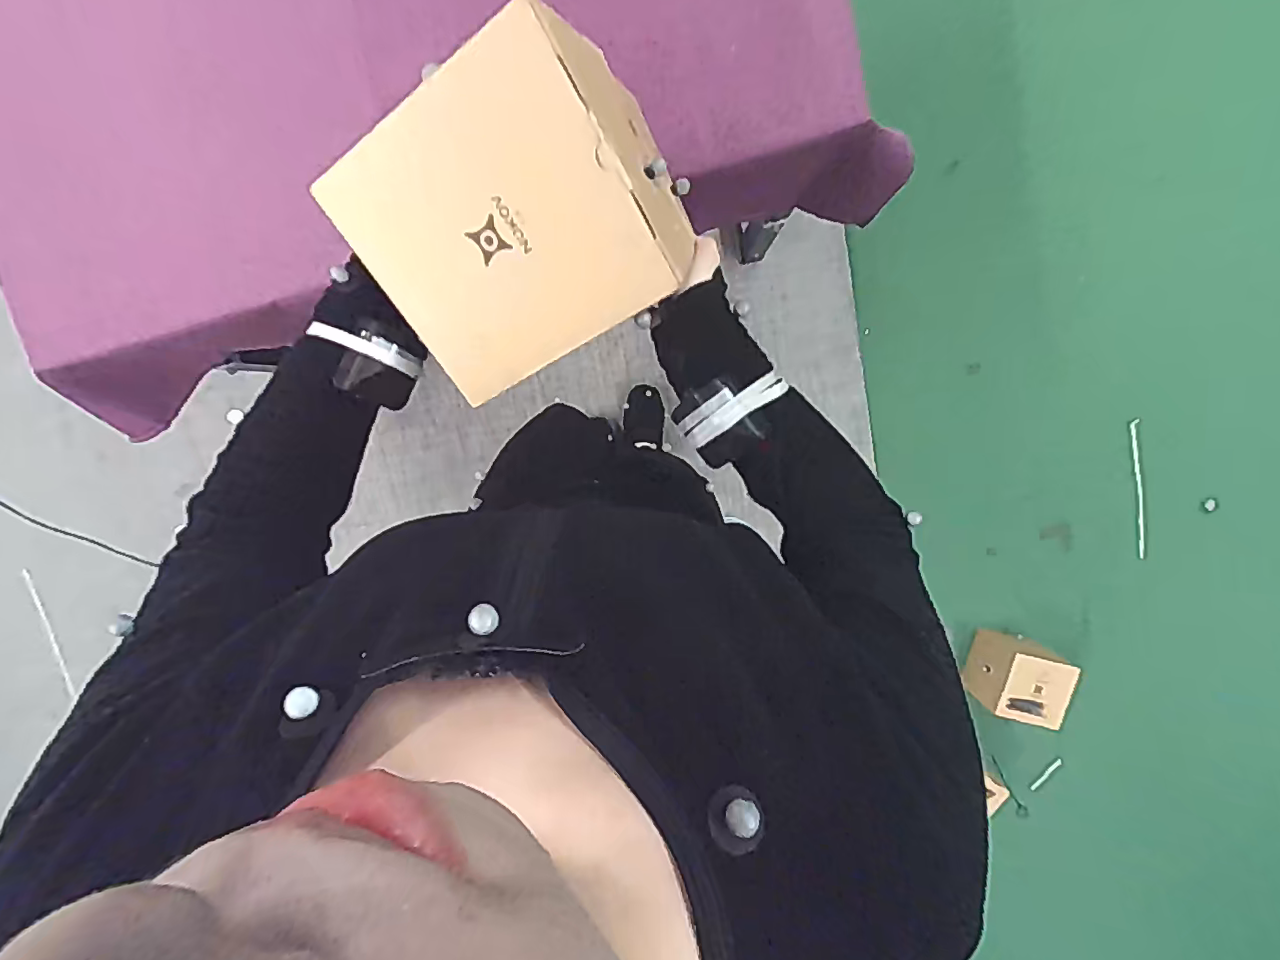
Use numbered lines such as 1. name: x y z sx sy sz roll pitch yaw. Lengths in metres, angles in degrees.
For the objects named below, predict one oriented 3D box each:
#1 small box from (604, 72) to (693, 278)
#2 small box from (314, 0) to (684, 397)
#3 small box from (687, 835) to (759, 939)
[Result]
1. small box: -0.057 -0.264 0.548 0.179 0.176 0.168 -21 114 19
2. small box: -0.080 -0.192 0.403 0.179 0.176 0.168 -25 113 20
3. small box: 0.237 1.178 1.575 0.179 0.176 0.168 -12 98 5
